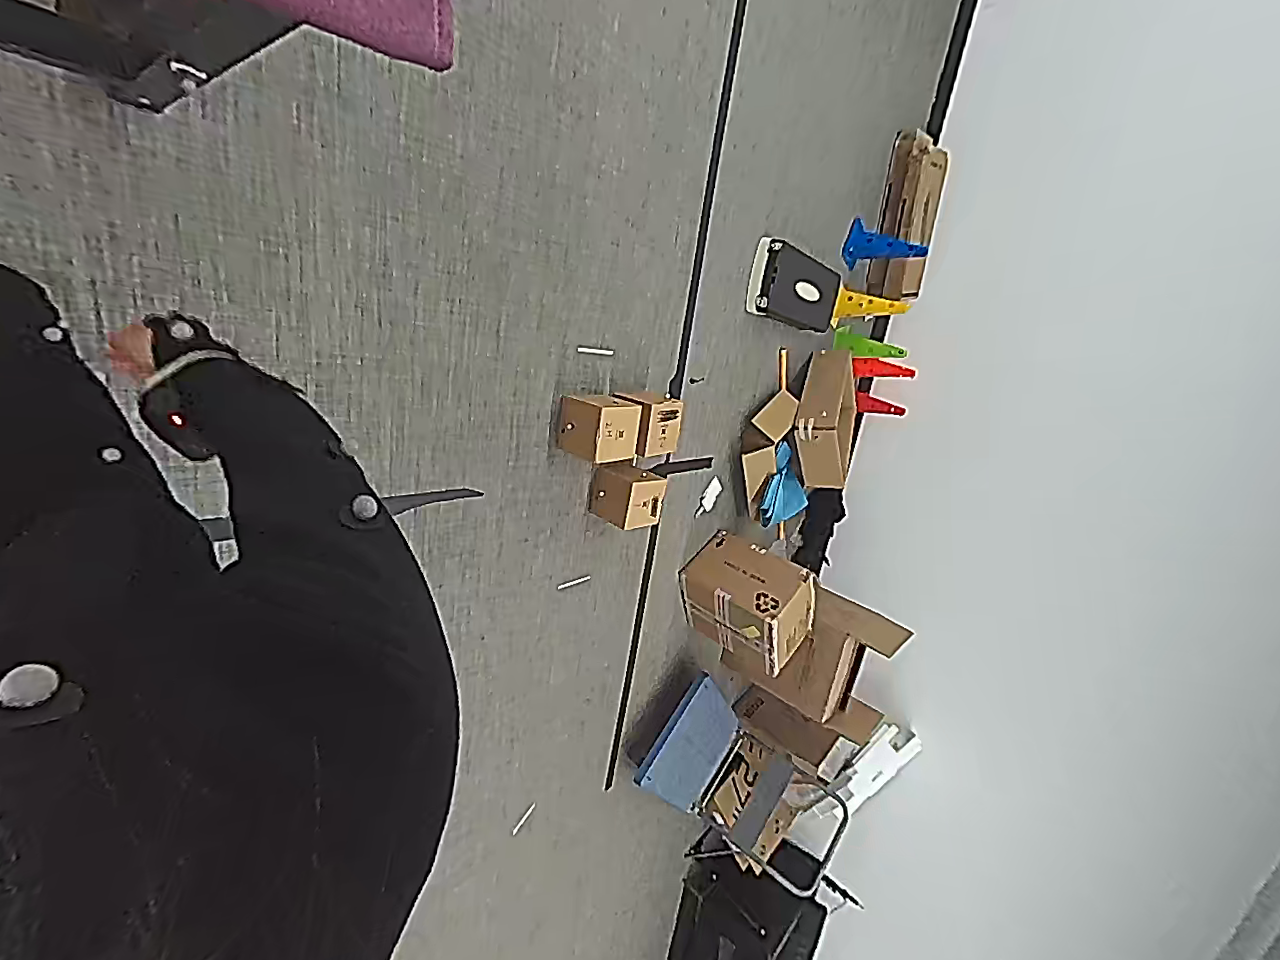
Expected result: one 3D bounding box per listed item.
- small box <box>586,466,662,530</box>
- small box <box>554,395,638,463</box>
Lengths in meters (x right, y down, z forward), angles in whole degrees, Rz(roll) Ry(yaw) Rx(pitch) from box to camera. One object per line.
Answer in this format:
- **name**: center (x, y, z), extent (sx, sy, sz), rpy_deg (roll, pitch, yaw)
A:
- **small box**: center (-0.056, 0.054, 1.834), extent (0.179, 0.176, 0.168), rpy_deg (-6, 112, -49)
- **small box**: center (-0.133, -0.159, 1.624), extent (0.179, 0.176, 0.168), rpy_deg (-11, 116, -49)
